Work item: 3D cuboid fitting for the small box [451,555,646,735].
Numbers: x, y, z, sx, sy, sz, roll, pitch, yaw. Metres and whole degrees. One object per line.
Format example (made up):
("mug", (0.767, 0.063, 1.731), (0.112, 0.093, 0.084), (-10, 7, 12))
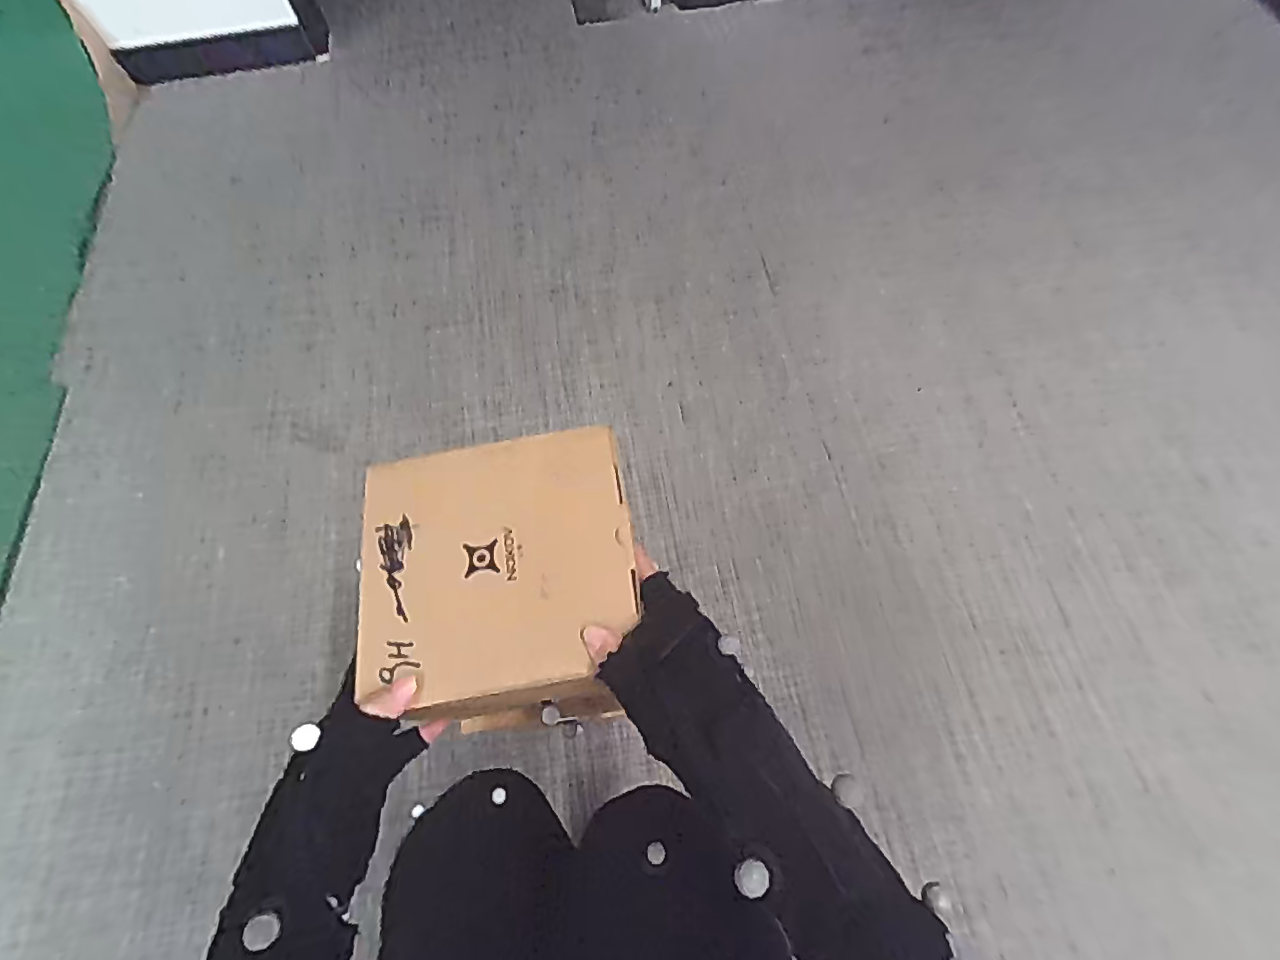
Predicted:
("small box", (-0.087, 0.161, 0.568), (0.168, 0.176, 0.179), (-9, 67, 0))

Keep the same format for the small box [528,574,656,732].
("small box", (-0.076, 0.234, 0.711), (0.179, 0.176, 0.168), (-8, 66, -1))

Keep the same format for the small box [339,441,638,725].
("small box", (-0.097, 0.090, 0.421), (0.179, 0.176, 0.168), (-9, 64, 0))
